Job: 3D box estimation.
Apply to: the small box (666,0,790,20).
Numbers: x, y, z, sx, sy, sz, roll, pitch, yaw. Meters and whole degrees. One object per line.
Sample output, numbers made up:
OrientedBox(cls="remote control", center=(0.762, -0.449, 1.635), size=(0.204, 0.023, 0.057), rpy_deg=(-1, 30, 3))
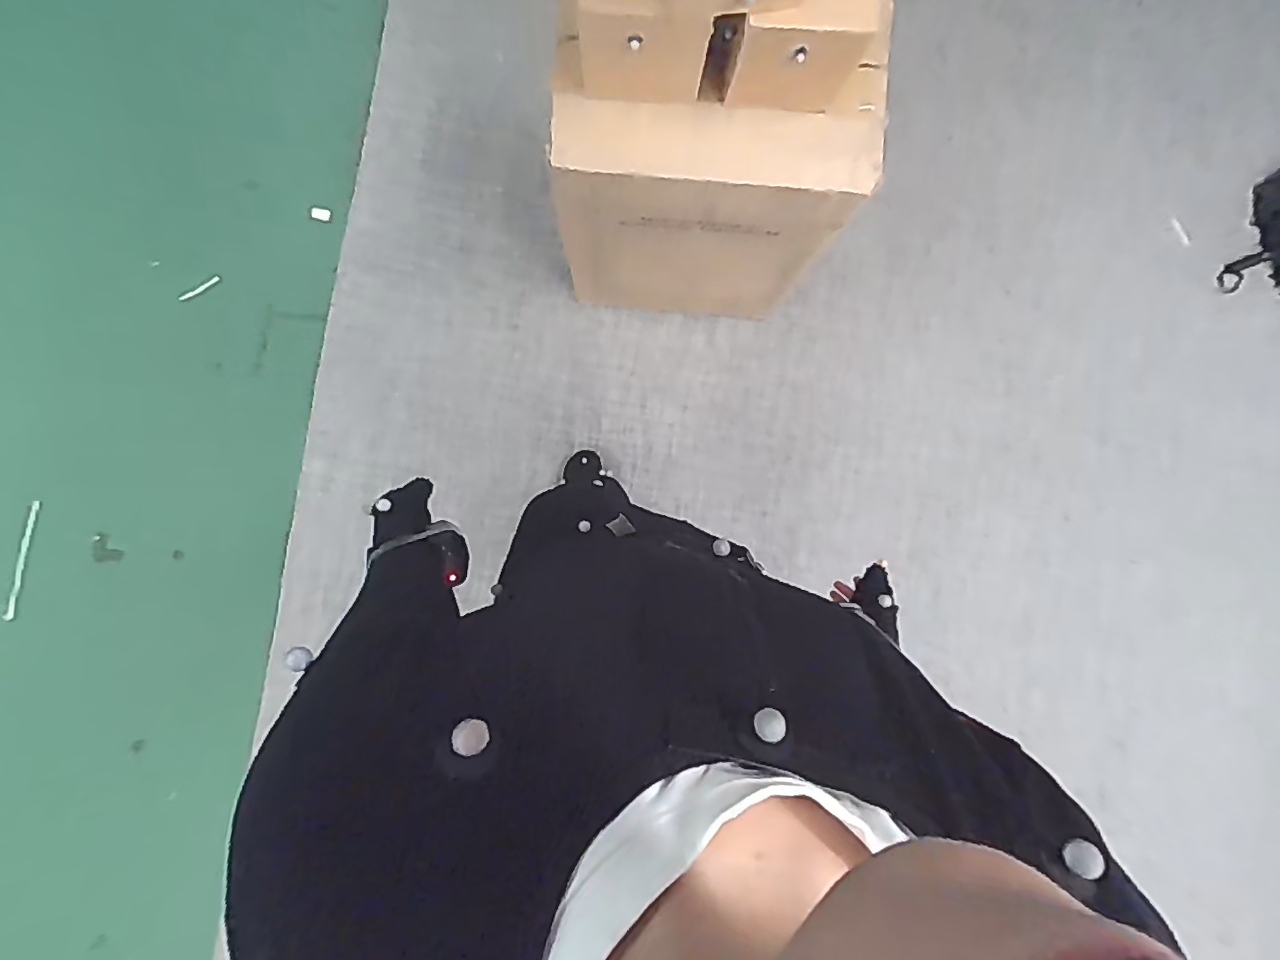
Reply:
OrientedBox(cls="small box", center=(0.117, -0.673, 0.610), size=(0.179, 0.176, 0.168), rpy_deg=(-9, 93, -3))

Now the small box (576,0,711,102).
OrientedBox(cls="small box", center=(0.006, -0.676, 0.768), size=(0.179, 0.176, 0.168), rpy_deg=(3, 93, -3))
